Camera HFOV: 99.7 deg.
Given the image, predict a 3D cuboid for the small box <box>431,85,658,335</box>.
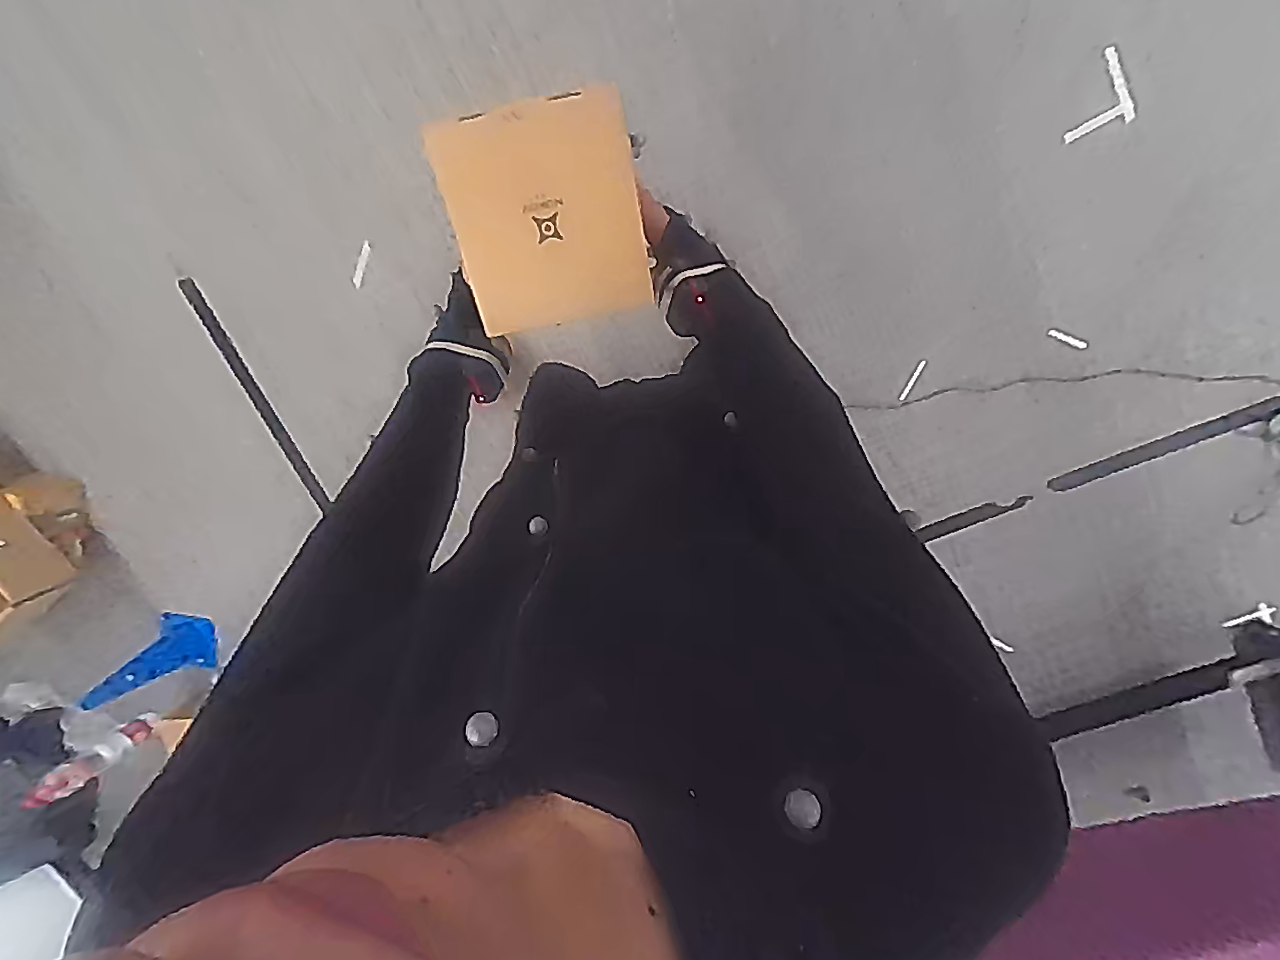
[{"bbox_3d":[-0.077,-0.263,0.538,0.168,0.176,0.179,-10,118,3],"label":"small box"}]
